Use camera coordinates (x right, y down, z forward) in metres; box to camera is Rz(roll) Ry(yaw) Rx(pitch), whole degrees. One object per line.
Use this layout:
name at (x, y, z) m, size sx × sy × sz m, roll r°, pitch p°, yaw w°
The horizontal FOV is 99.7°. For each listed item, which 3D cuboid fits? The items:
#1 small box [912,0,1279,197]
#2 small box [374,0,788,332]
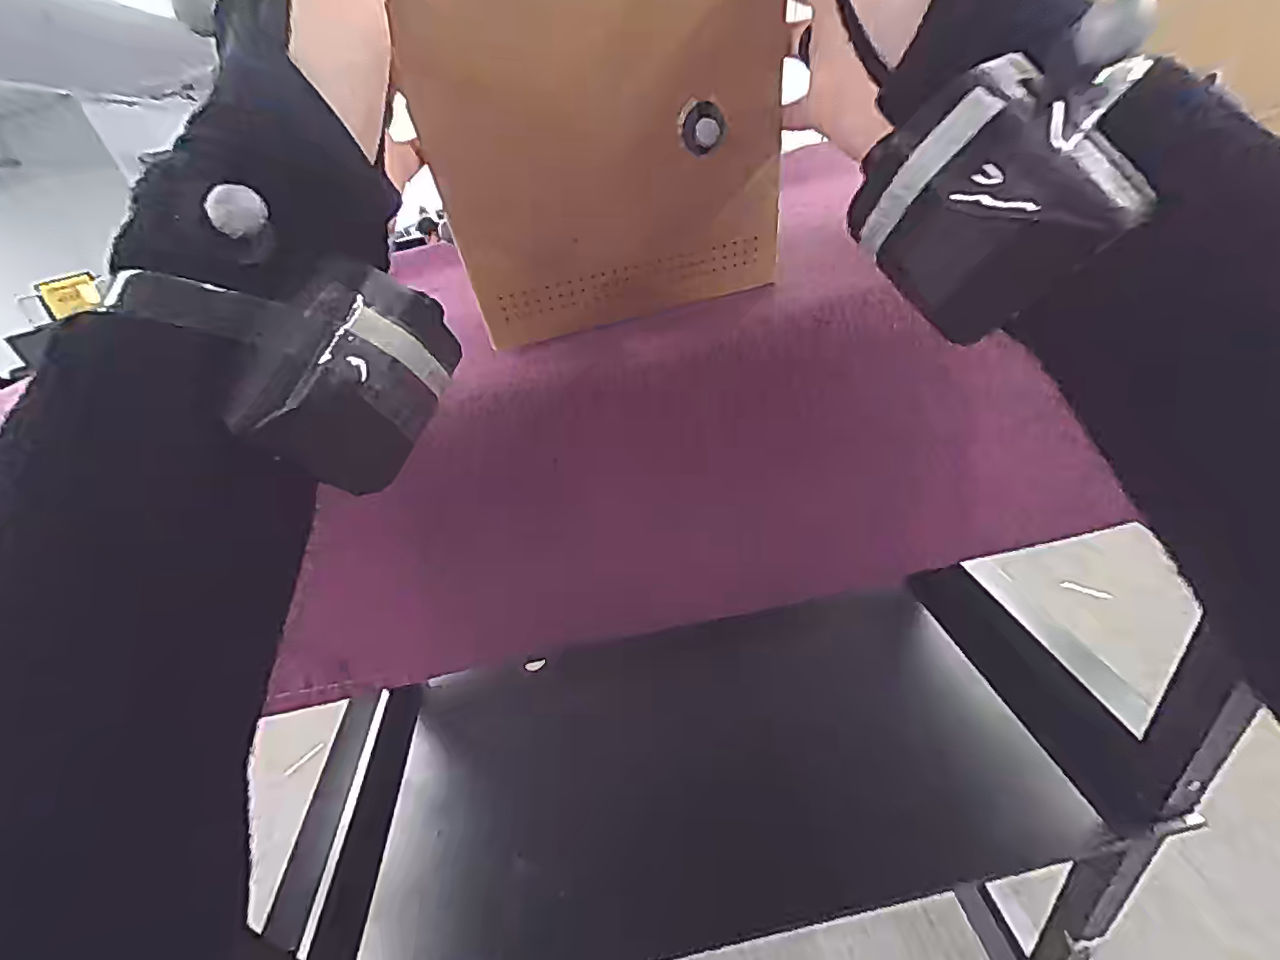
small box at (0.298, -0.298, 0.346) m, size 0.179 × 0.176 × 0.168 m, roll -12°, pitch 31°, yaw 3°
small box at (-0.029, -0.211, 0.314) m, size 0.179 × 0.176 × 0.168 m, roll -16°, pitch 43°, yaw -5°
